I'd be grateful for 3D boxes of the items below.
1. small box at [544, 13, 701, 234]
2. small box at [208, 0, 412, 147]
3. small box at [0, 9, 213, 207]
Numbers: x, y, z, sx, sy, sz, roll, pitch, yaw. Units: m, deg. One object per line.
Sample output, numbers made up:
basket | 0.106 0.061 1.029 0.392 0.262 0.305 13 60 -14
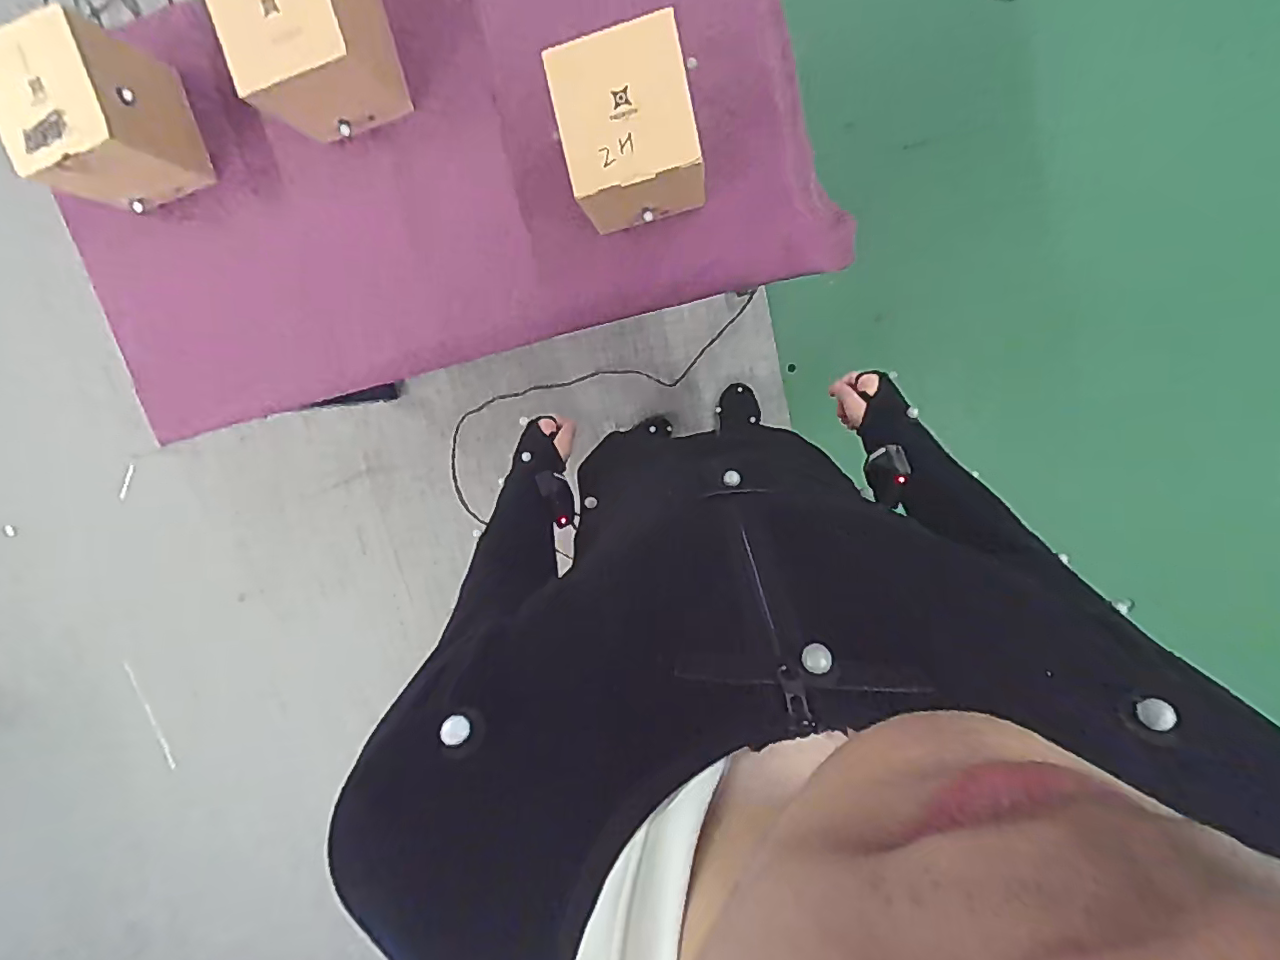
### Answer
small box | -0.013 -0.464 0.735 0.168 0.176 0.179 -11 98 10
small box | -0.457 -0.614 0.763 0.168 0.176 0.179 -12 100 9
small box | -0.803 -0.536 0.815 0.168 0.176 0.179 -14 98 8
